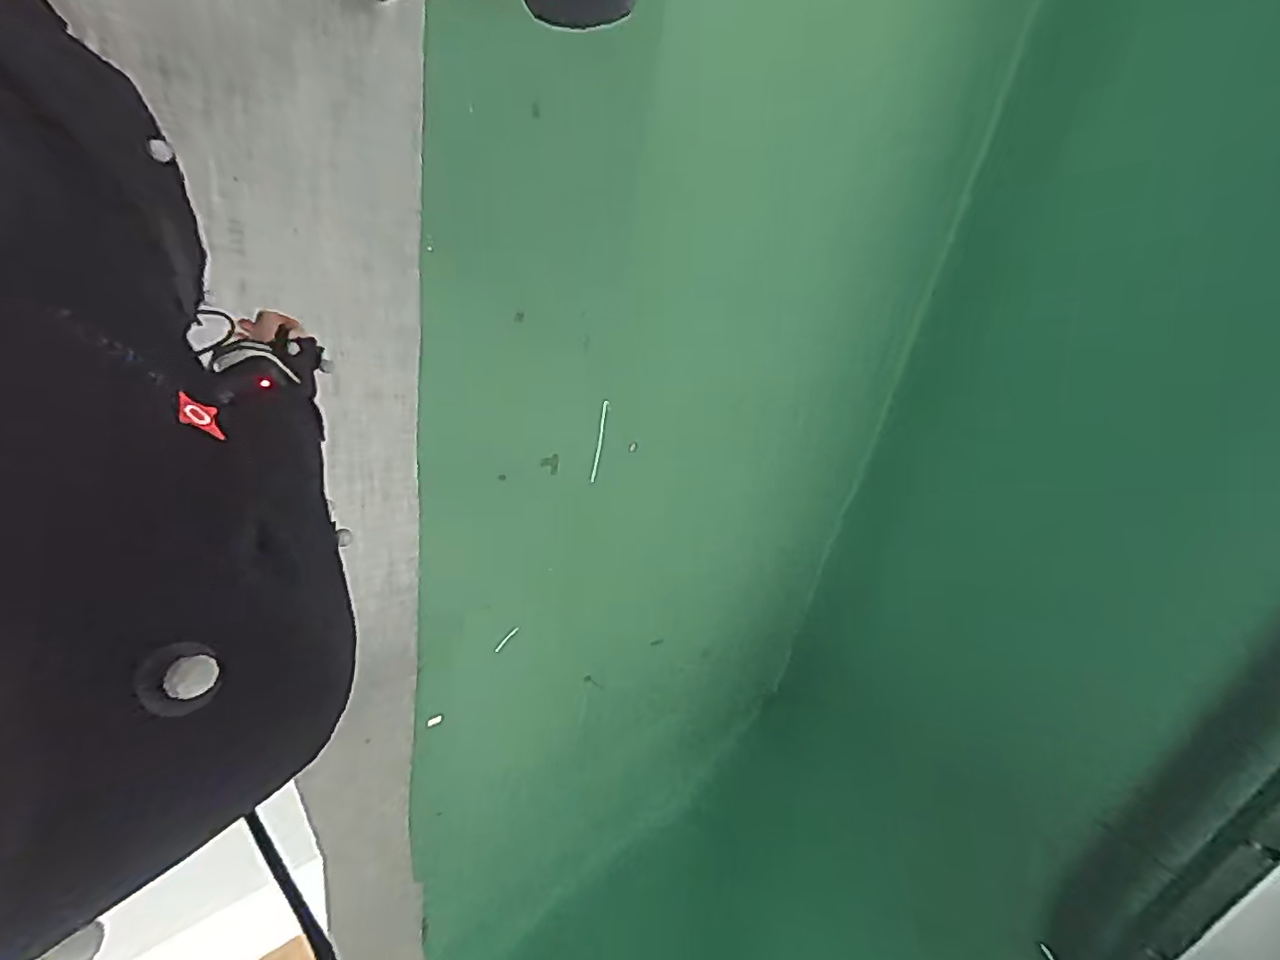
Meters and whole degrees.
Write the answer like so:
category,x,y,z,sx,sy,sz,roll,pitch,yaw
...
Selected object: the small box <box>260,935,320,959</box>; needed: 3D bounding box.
category,x,y,z,sx,sy,sz,roll,pitch,yaw
small box,-0.690,1.030,1.023,0.168,0.176,0.179,-11,121,-43
